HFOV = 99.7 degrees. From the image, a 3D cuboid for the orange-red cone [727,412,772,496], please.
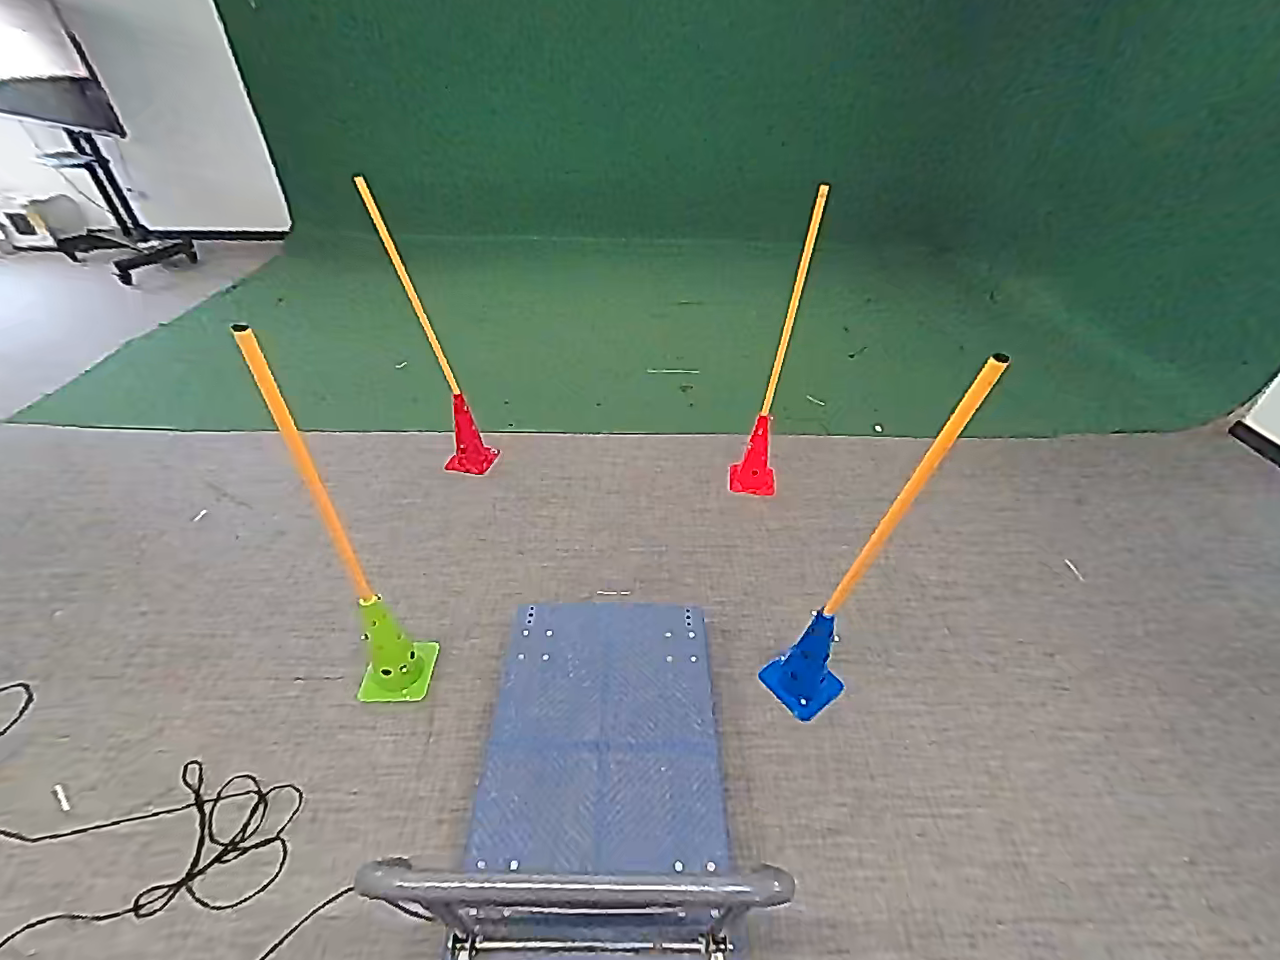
[{"bbox_3d":[0.497,-0.131,2.329,0.198,0.360,0.199,7,40,8],"label":"orange-red cone"}]
